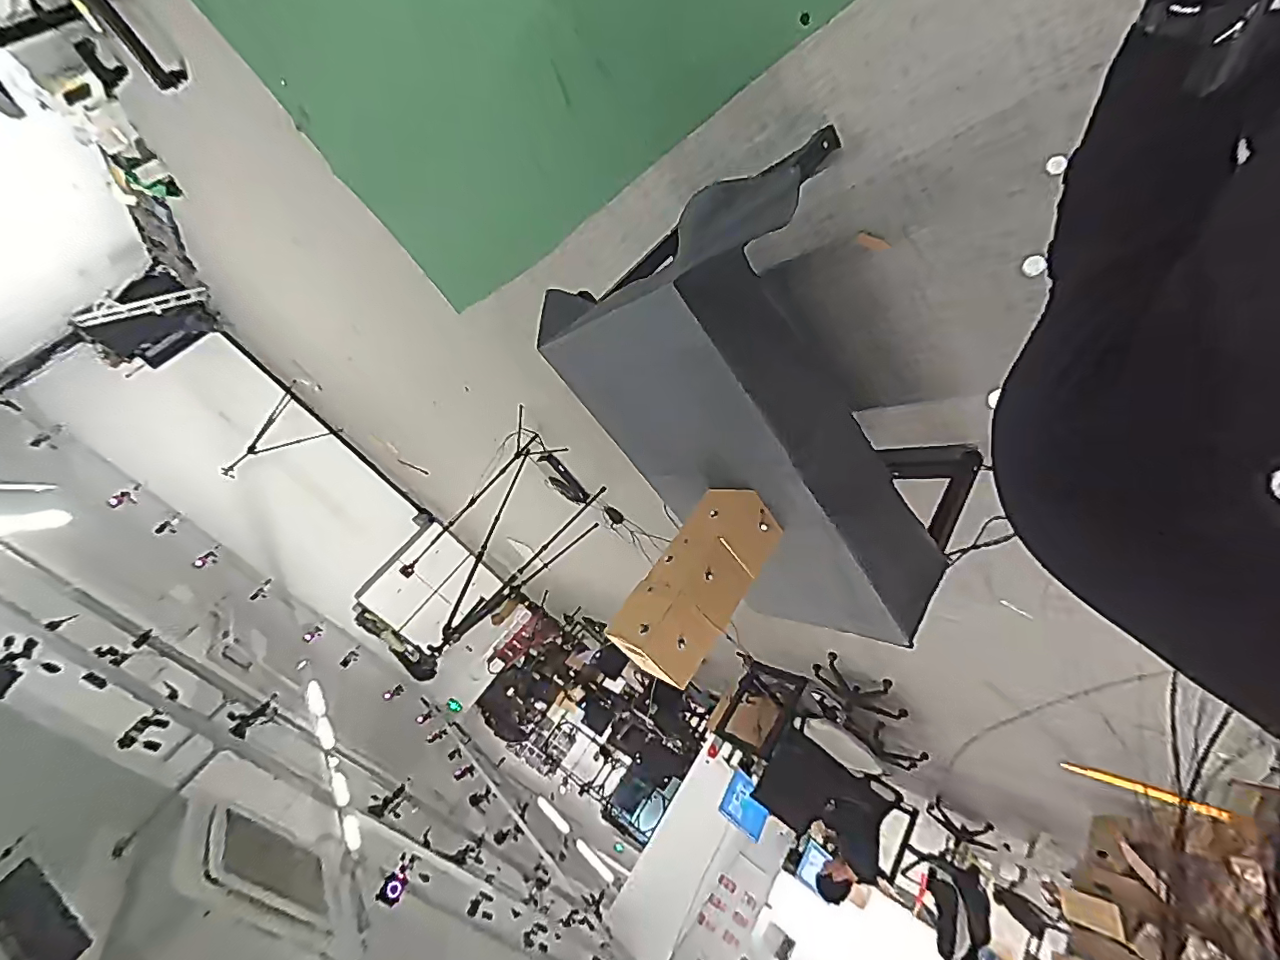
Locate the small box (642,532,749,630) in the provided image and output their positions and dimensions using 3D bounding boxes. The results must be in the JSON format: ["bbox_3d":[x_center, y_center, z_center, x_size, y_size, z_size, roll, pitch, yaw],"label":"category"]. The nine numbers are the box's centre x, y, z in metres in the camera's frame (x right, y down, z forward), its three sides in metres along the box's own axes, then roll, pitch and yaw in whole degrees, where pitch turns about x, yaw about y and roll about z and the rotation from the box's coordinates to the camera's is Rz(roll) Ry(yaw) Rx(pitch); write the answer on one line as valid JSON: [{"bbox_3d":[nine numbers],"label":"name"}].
[{"bbox_3d":[0.145,0.251,1.389,0.179,0.176,0.168,50,154,-23],"label":"small box"}]

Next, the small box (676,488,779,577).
[{"bbox_3d":[0.238,0.133,1.452,0.179,0.176,0.168,0,135,54],"label":"small box"}]
